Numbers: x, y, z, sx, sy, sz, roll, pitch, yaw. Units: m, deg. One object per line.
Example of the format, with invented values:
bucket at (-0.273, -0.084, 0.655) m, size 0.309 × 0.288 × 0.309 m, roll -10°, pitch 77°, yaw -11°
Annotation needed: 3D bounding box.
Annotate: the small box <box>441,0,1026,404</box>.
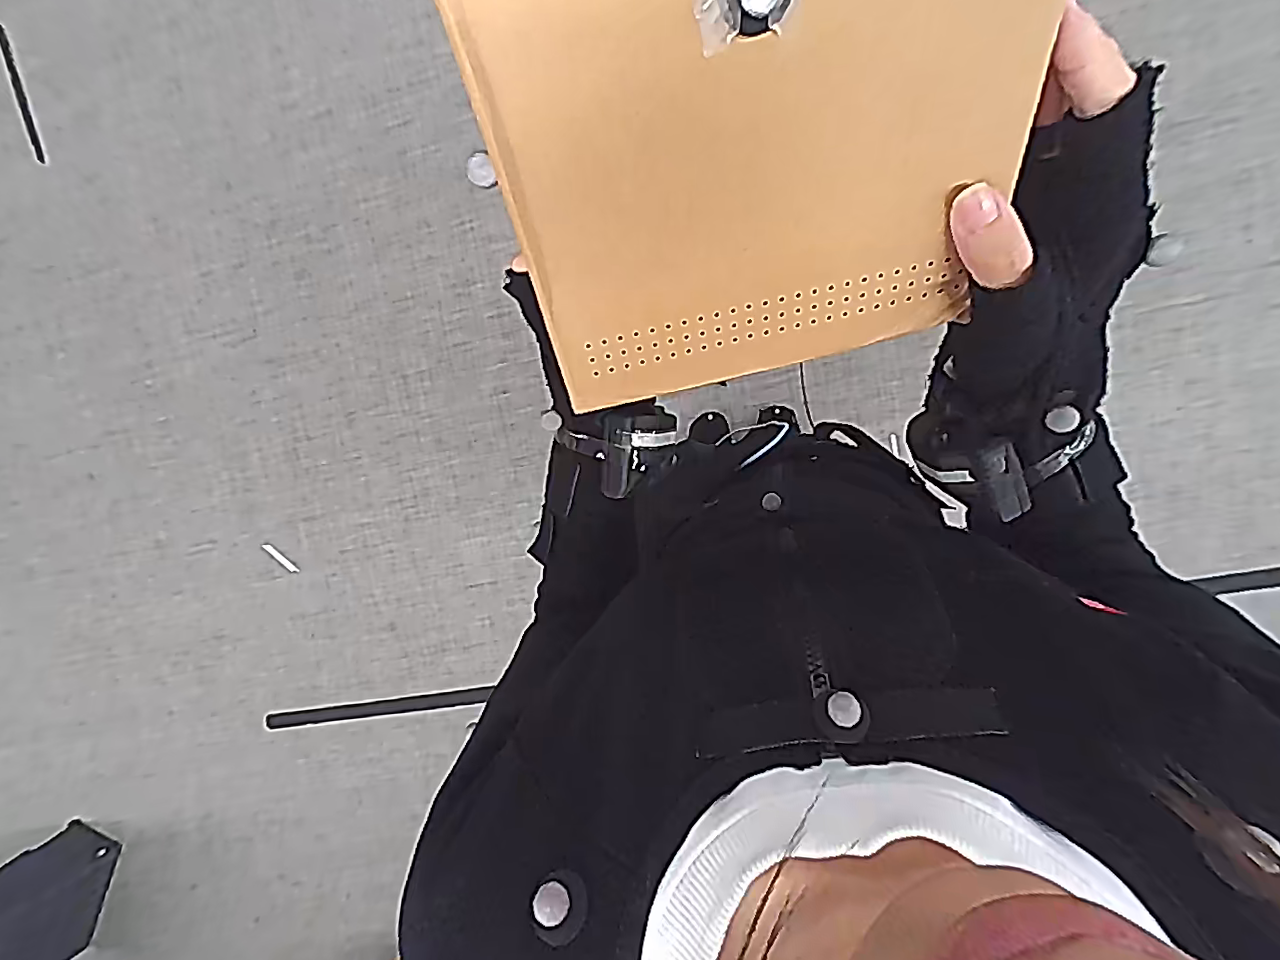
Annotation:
small box at (0.034, -0.154, 0.236) m, size 0.179 × 0.168 × 0.176 m, roll -12°, pitch 134°, yaw 2°
